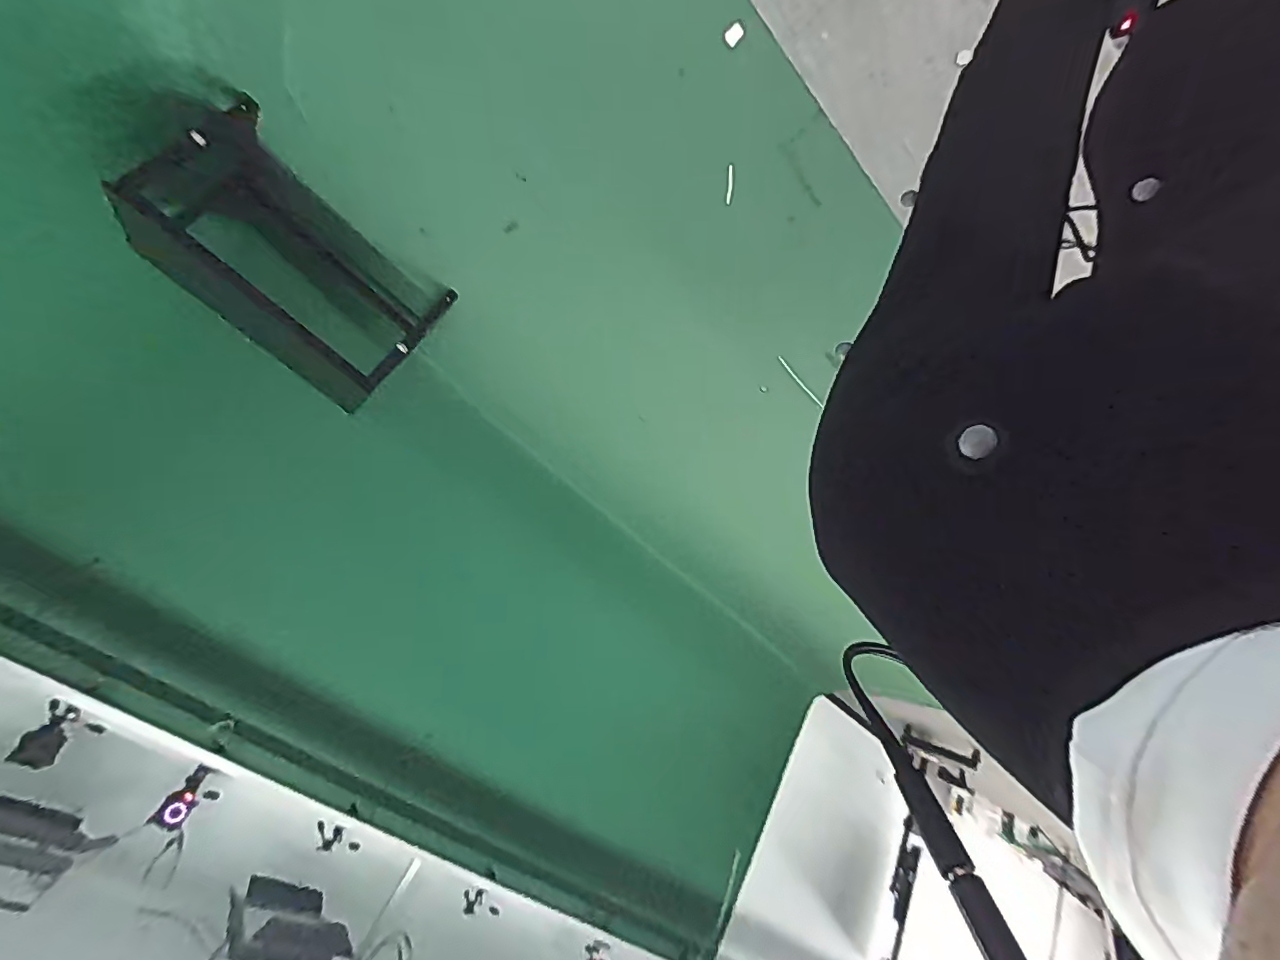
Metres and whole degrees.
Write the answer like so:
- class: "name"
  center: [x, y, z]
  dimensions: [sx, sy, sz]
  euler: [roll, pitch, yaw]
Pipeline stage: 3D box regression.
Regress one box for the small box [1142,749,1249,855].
- class: "small box"
  center: [1.521, 0.871, 1.478]
  dimensions: [0.179, 0.176, 0.168]
  euler: [41, 153, -18]
